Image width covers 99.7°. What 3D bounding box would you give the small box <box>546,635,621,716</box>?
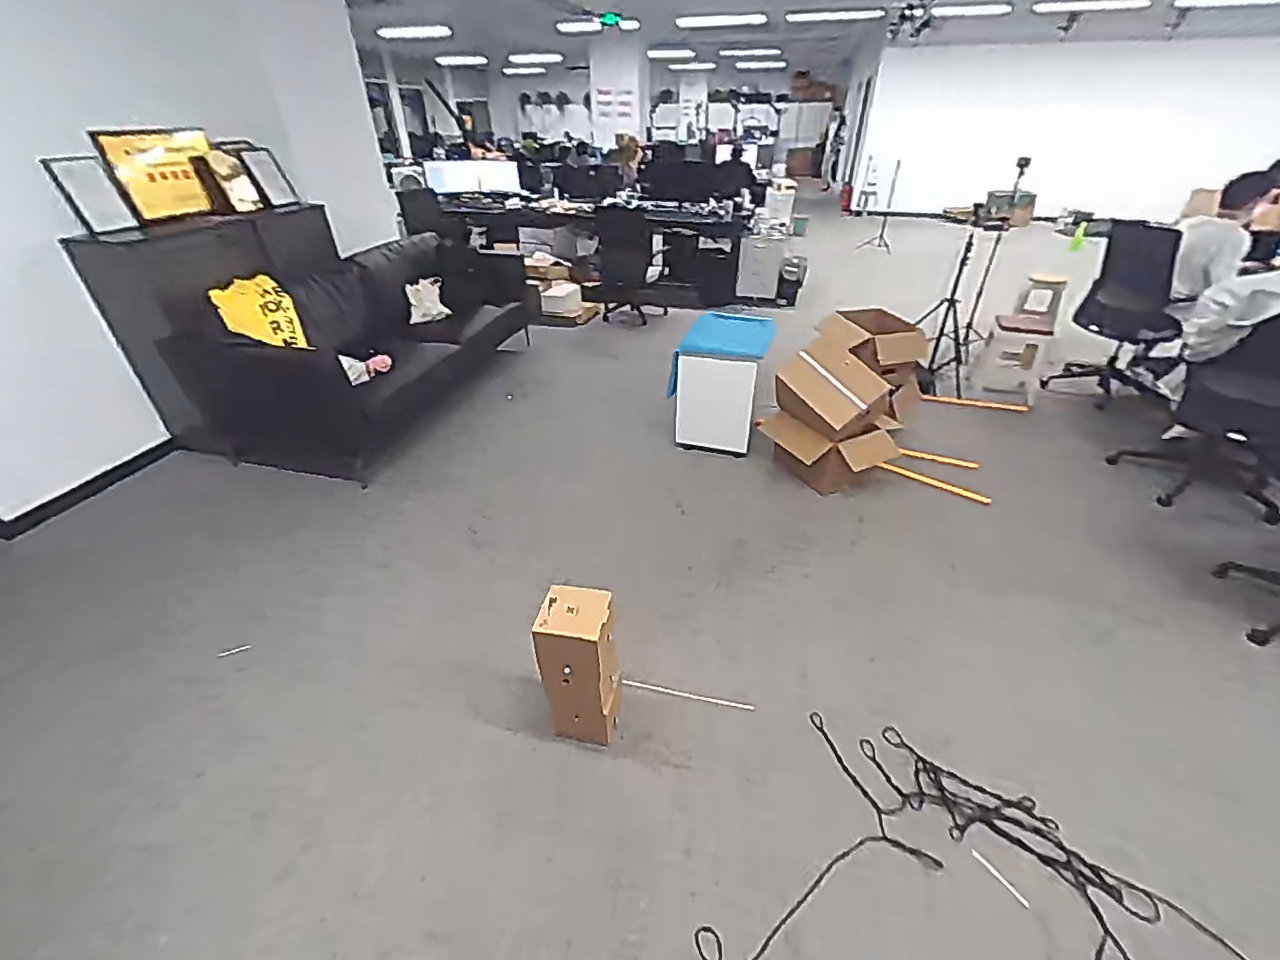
[{"bbox_3d":[-0.161,0.546,1.545,0.179,0.176,0.168,7,35,12],"label":"small box"}]

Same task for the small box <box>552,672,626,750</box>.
[{"bbox_3d":[-0.148,0.685,1.633,0.179,0.176,0.168,7,34,12],"label":"small box"}]

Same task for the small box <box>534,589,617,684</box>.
[{"bbox_3d":[-0.163,0.418,1.442,0.179,0.176,0.168,6,34,10],"label":"small box"}]
